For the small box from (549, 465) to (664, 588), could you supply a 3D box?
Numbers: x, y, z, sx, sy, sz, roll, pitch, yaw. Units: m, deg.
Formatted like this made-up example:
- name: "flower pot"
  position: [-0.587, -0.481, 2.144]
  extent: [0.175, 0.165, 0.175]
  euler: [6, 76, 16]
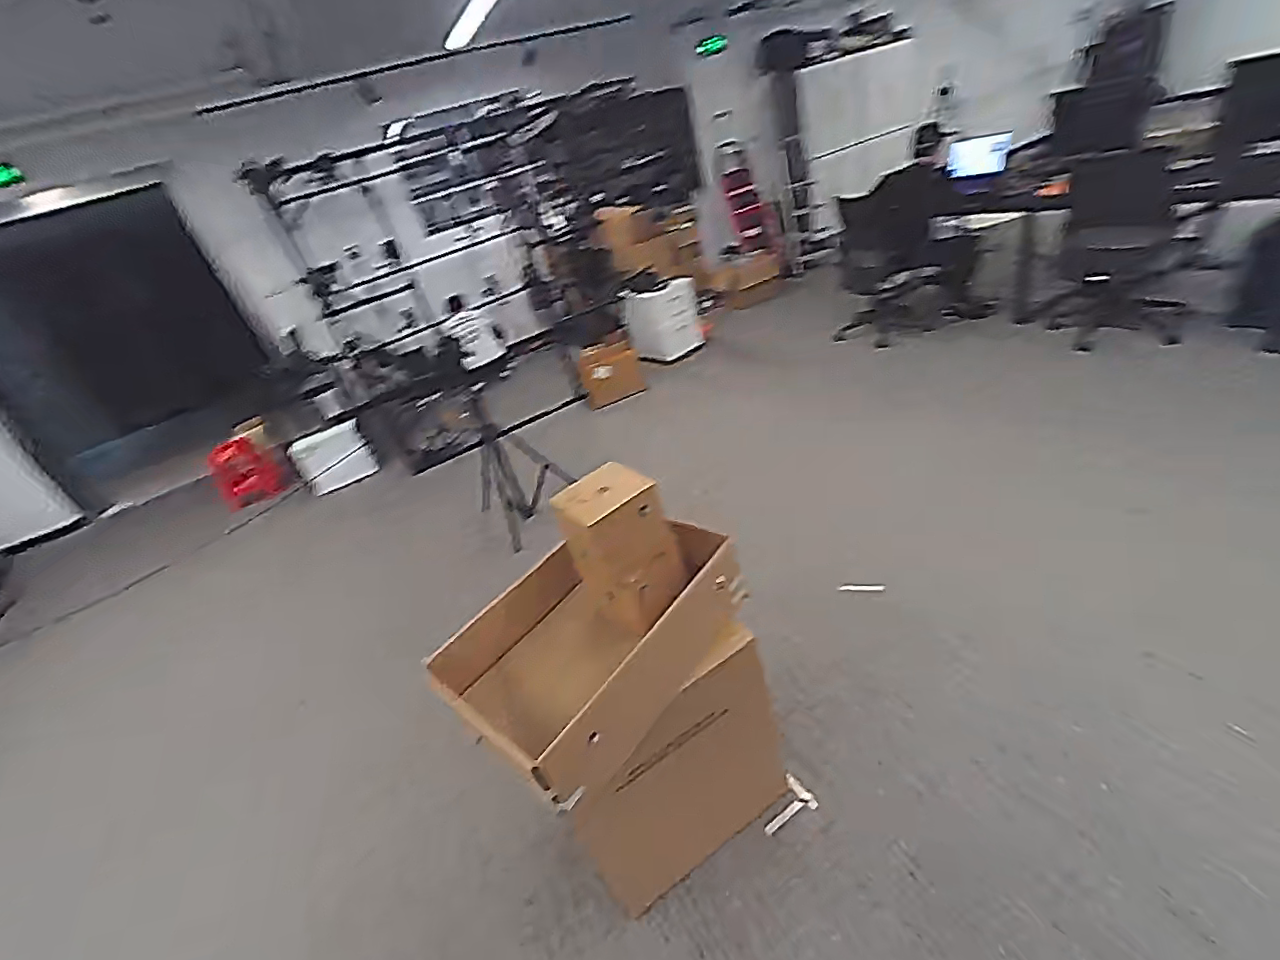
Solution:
- name: "small box"
  position: [-0.064, 0.098, 1.170]
  extent: [0.179, 0.176, 0.168]
  euler: [-34, 35, -23]
